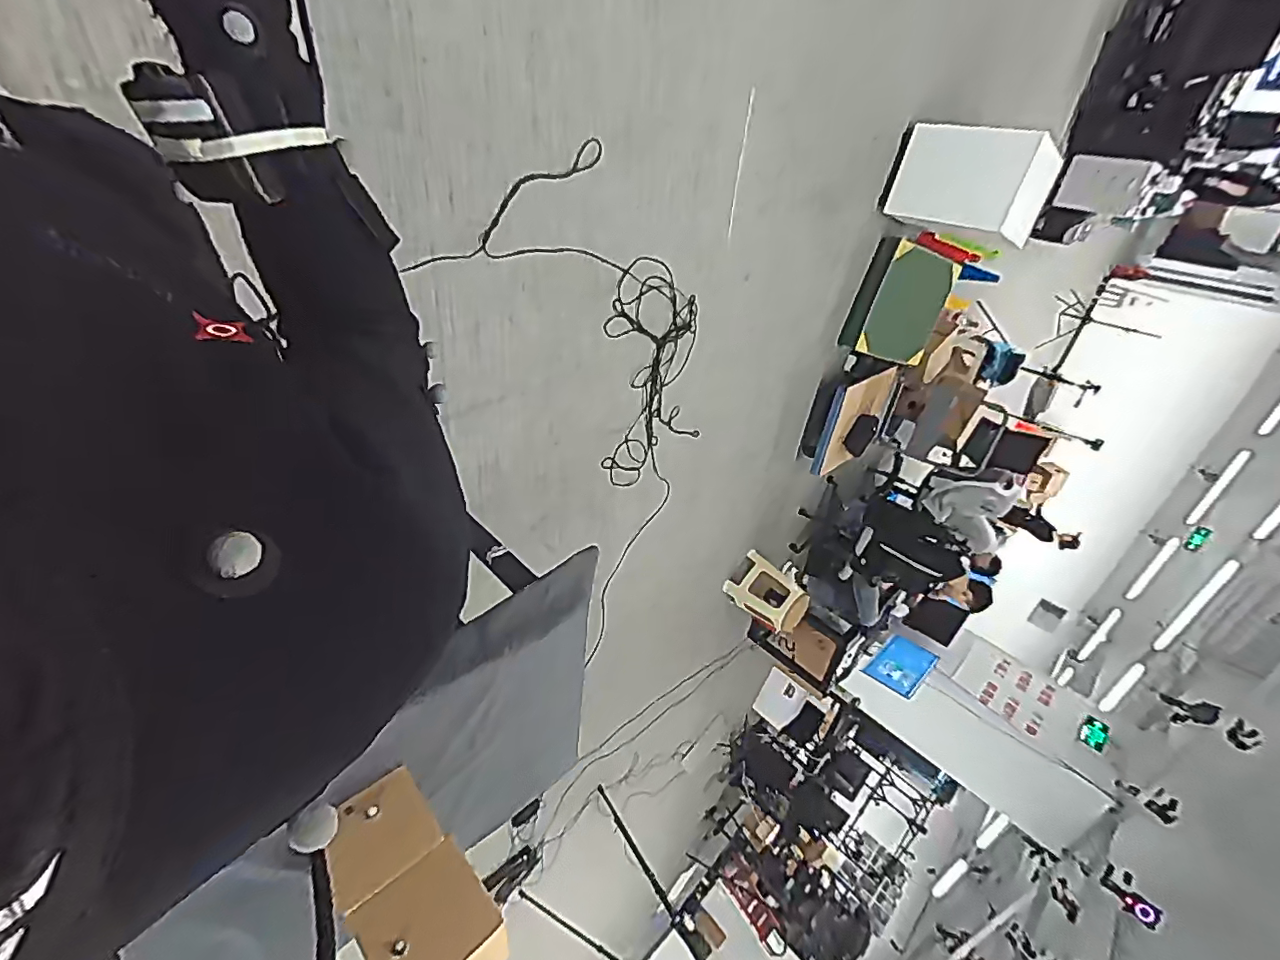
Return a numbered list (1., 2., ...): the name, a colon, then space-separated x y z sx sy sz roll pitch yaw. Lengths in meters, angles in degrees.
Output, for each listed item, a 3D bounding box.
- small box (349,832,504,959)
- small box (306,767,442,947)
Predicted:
1. small box: -0.340 0.723 0.864 0.179 0.176 0.168 -26 136 -39
2. small box: -0.457 0.653 0.952 0.168 0.176 0.179 -24 133 -39
